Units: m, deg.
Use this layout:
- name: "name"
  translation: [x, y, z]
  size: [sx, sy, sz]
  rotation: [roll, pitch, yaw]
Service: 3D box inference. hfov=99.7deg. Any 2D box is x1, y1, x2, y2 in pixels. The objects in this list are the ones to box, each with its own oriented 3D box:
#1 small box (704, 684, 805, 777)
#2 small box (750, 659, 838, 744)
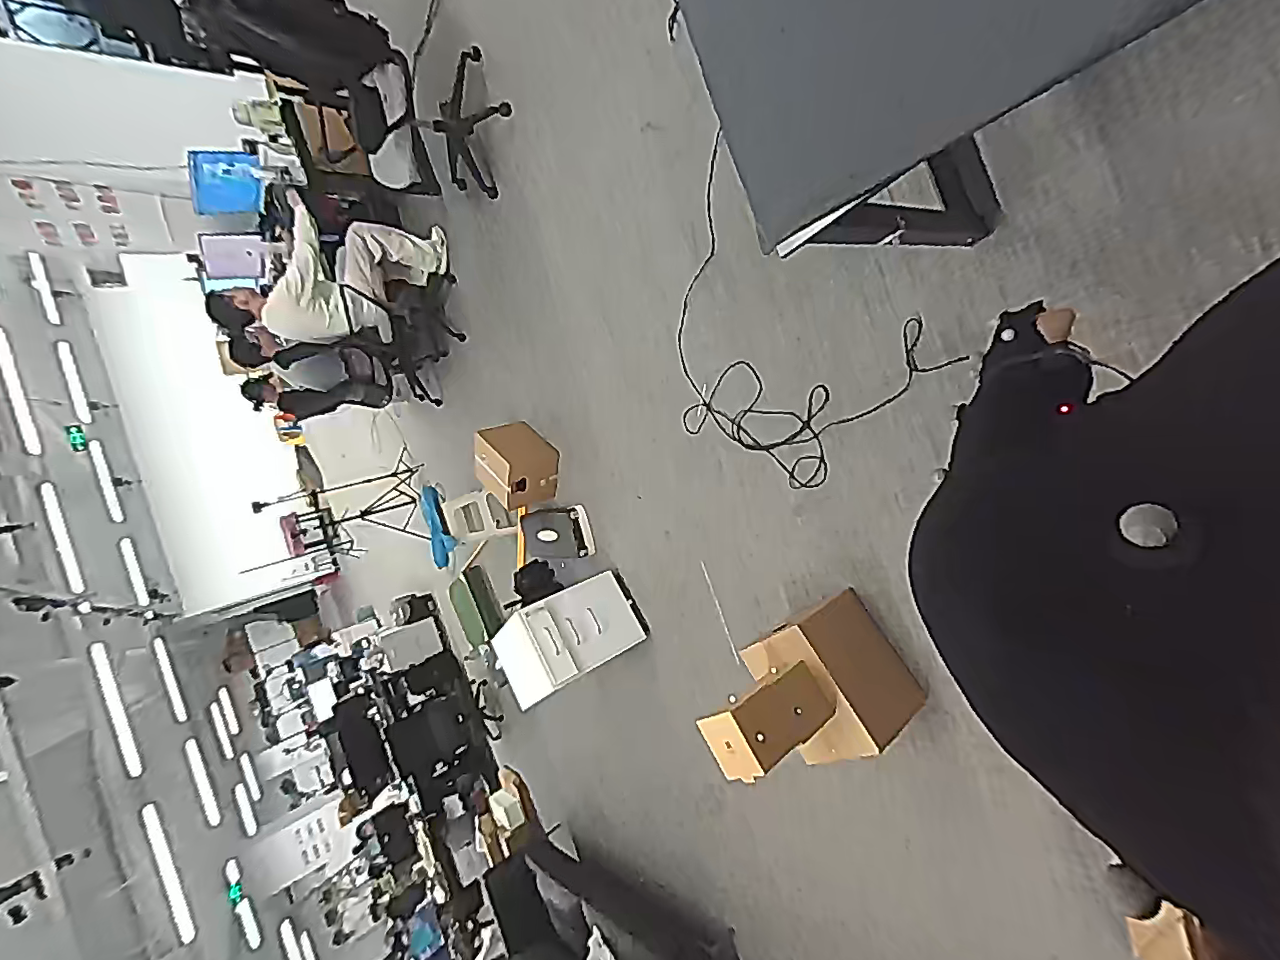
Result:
- name: "small box"
  translation: [0.318, 0.689, 1.502]
  size: [0.179, 0.176, 0.168]
  rotation: [59, 140, 15]
- name: "small box"
  translation: [0.447, 0.661, 1.598]
  size: [0.179, 0.176, 0.168]
  rotation: [60, 140, 16]
